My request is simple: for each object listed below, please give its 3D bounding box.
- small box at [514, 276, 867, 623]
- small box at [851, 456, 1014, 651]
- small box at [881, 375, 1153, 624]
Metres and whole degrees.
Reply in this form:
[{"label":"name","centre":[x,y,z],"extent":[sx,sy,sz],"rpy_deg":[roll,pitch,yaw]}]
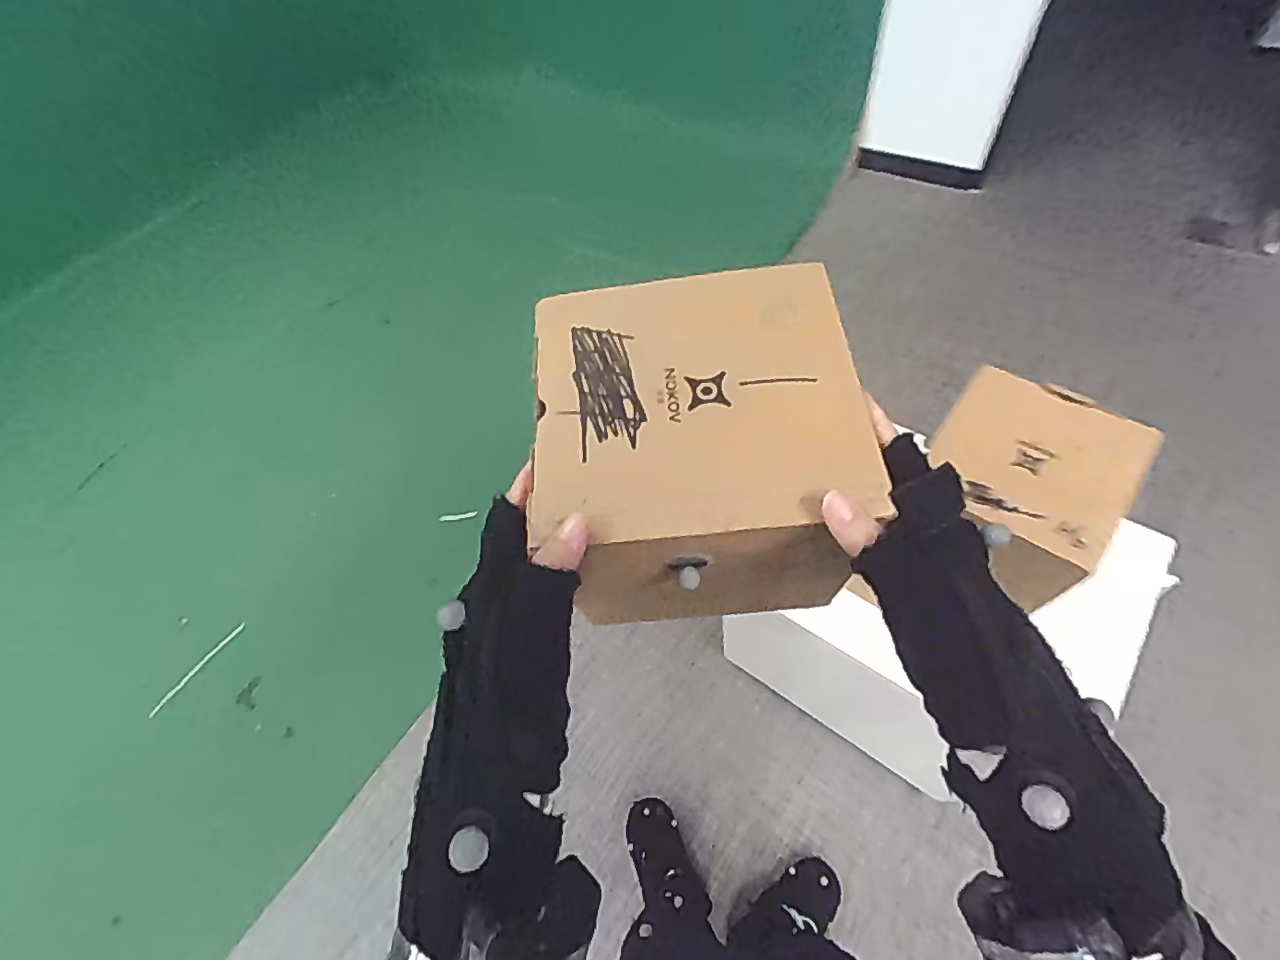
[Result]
[{"label":"small box","centre":[0.028,-0.007,0.369],"extent":[0.179,0.176,0.168],"rpy_deg":[-6,62,4]},{"label":"small box","centre":[0.409,0.105,0.727],"extent":[0.179,0.176,0.168],"rpy_deg":[31,70,24]},{"label":"small box","centre":[0.388,0.026,0.589],"extent":[0.168,0.176,0.179],"rpy_deg":[30,70,24]}]
